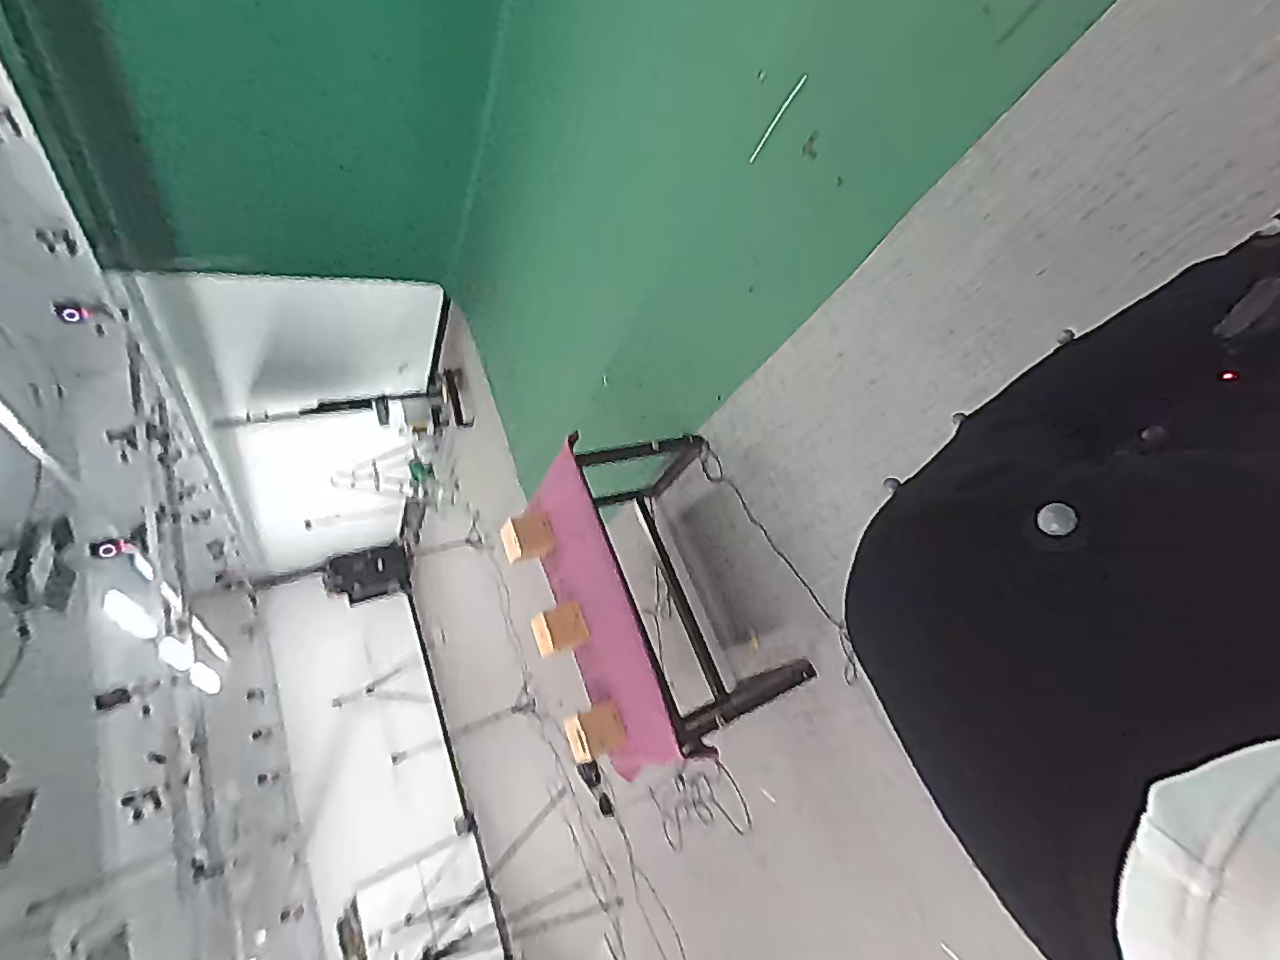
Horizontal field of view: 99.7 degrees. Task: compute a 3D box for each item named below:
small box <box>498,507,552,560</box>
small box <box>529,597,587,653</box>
[{"bbox_3d":[-0.514,0.239,2.417,0.179,0.176,0.168,-42,66,52],"label":"small box"},{"bbox_3d":[-0.346,0.614,2.290,0.179,0.176,0.168,-48,60,50],"label":"small box"}]
